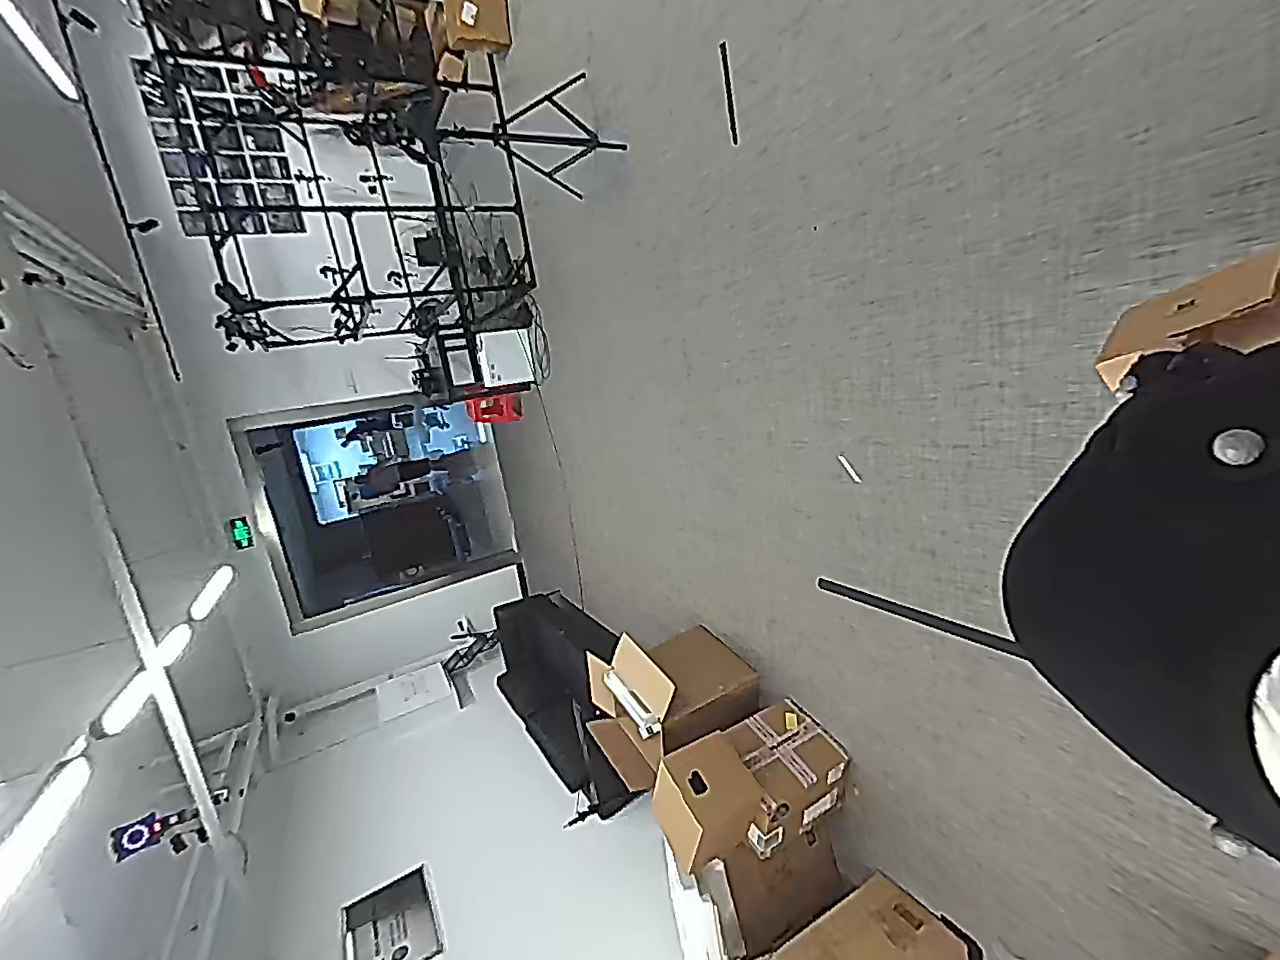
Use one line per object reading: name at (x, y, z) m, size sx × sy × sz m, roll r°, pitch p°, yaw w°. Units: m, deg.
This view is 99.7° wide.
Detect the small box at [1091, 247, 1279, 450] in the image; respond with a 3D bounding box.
small box at (0.740, -0.155, 0.697) m, size 0.176 × 0.179 × 0.168 m, roll 54°, pitch 151°, yaw -5°
